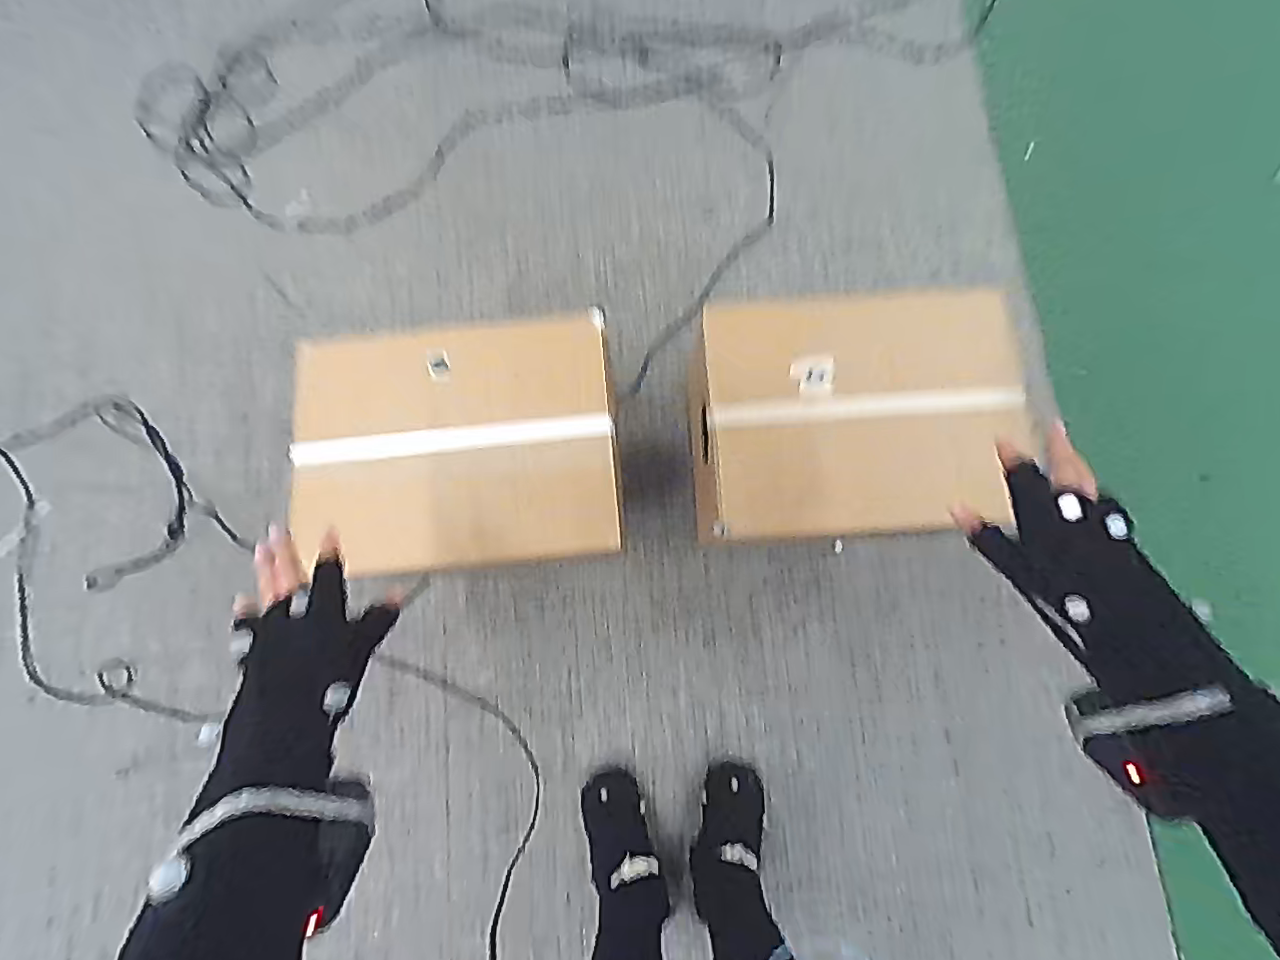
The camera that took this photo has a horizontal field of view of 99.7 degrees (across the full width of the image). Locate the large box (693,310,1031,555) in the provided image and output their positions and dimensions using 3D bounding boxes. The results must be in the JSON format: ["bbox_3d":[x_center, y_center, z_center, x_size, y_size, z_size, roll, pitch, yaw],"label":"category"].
[{"bbox_3d":[0.304,-0.048,0.871,0.408,0.320,0.320,-3,79,1],"label":"large box"}]
